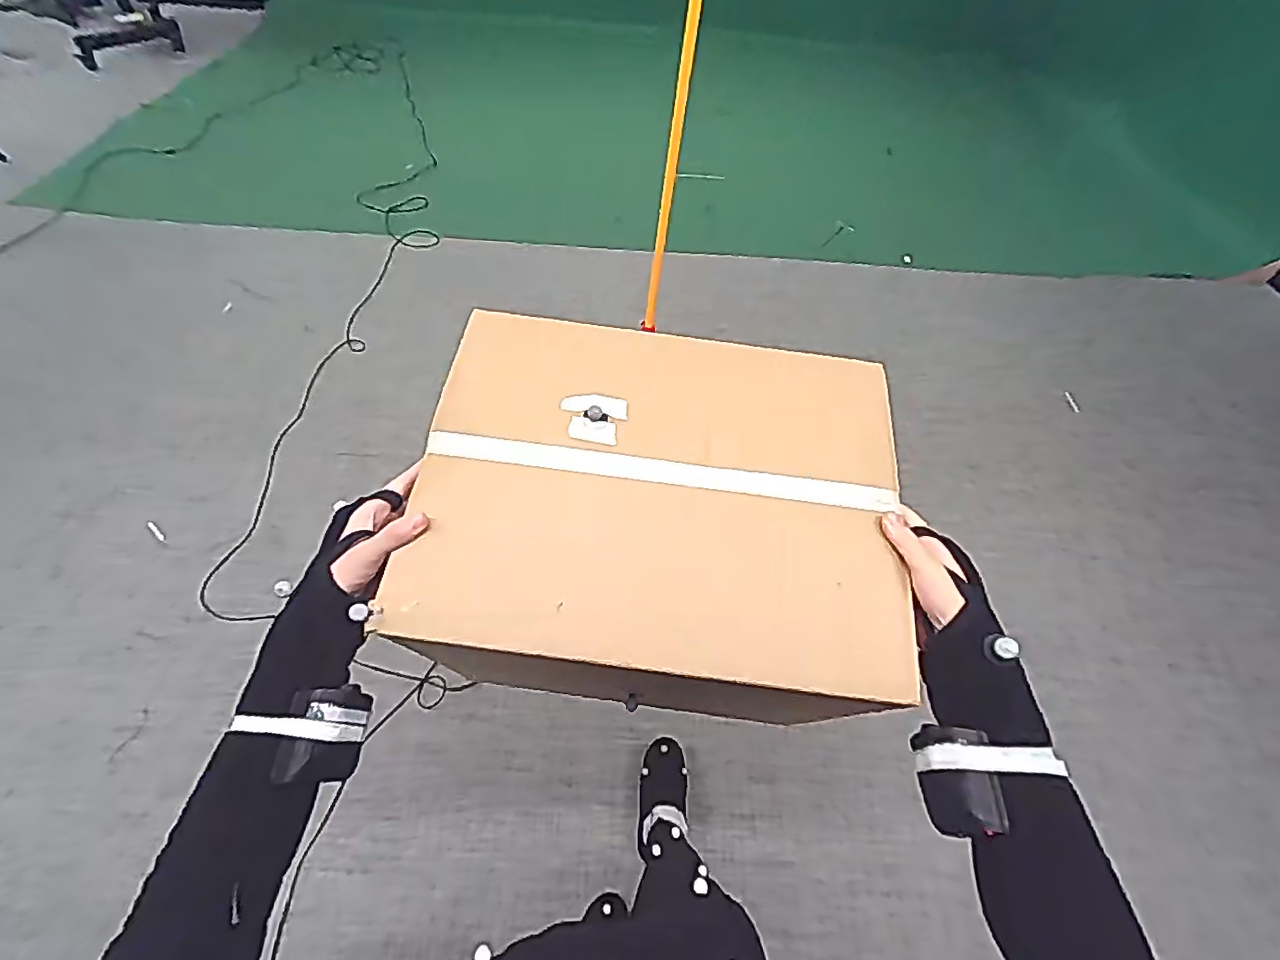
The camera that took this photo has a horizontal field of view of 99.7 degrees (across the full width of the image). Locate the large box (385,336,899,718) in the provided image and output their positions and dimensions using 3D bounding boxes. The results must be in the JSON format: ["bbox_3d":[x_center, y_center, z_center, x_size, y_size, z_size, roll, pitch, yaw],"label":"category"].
[{"bbox_3d":[0.013,0.077,0.609,0.408,0.320,0.320,8,63,1],"label":"large box"}]
